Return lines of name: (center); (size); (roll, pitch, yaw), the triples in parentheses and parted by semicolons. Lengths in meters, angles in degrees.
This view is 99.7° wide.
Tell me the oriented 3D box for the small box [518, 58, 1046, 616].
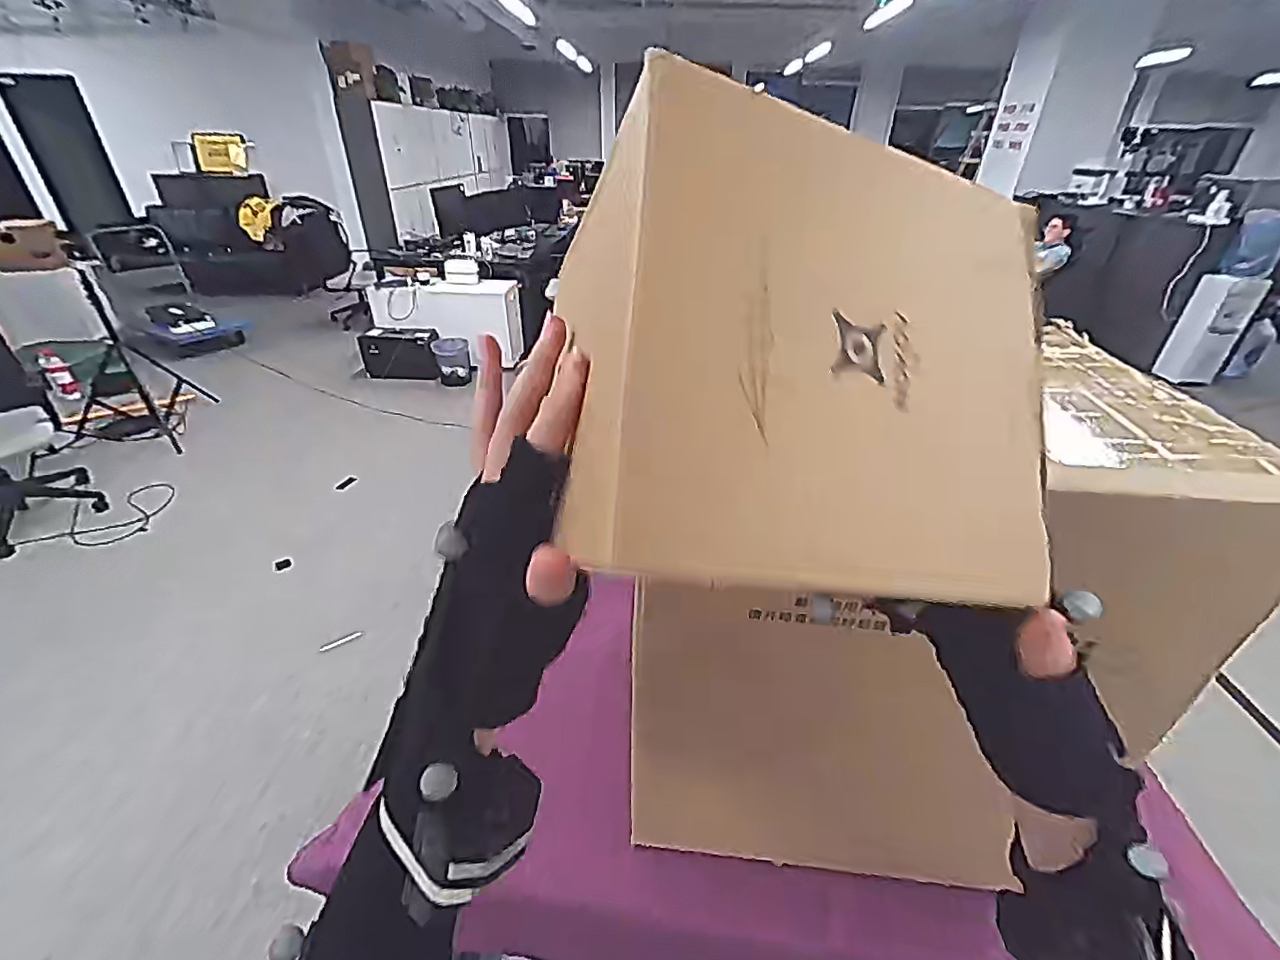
small box: (0.048, -0.032, 0.257); (0.179, 0.168, 0.176); (7, -9, -19)
